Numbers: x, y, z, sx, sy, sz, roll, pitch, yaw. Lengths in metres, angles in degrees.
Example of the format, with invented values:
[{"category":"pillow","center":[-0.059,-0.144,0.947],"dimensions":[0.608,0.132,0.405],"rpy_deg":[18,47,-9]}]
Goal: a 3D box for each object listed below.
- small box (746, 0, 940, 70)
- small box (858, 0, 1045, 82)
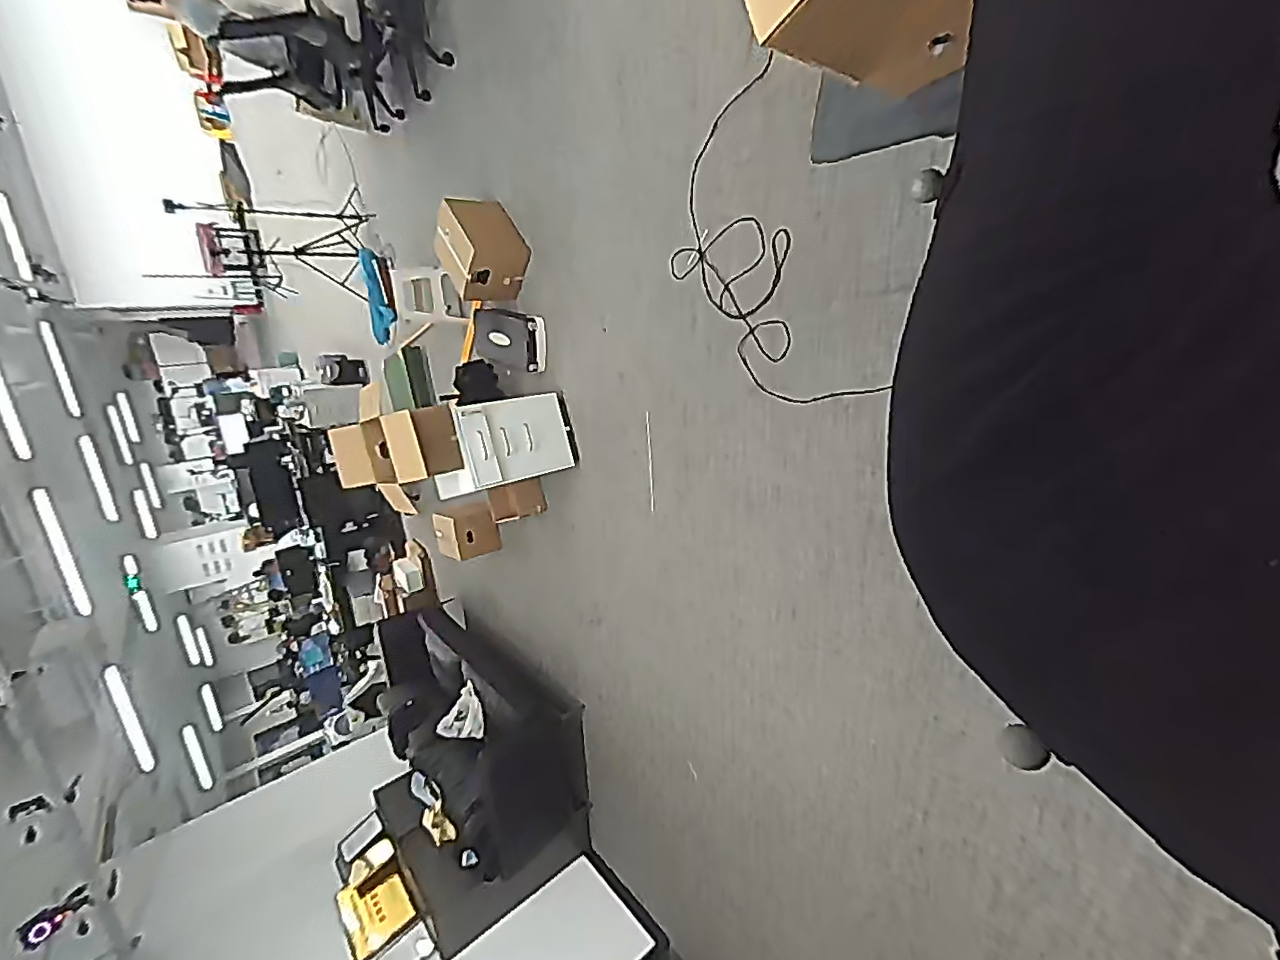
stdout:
[{"category":"small box","center":[0.193,-0.504,0.465],"dimensions":[0.179,0.176,0.168],"rpy_deg":[-19,89,52]},{"category":"small box","center":[0.313,-0.558,0.561],"dimensions":[0.179,0.176,0.168],"rpy_deg":[1,105,52]}]
